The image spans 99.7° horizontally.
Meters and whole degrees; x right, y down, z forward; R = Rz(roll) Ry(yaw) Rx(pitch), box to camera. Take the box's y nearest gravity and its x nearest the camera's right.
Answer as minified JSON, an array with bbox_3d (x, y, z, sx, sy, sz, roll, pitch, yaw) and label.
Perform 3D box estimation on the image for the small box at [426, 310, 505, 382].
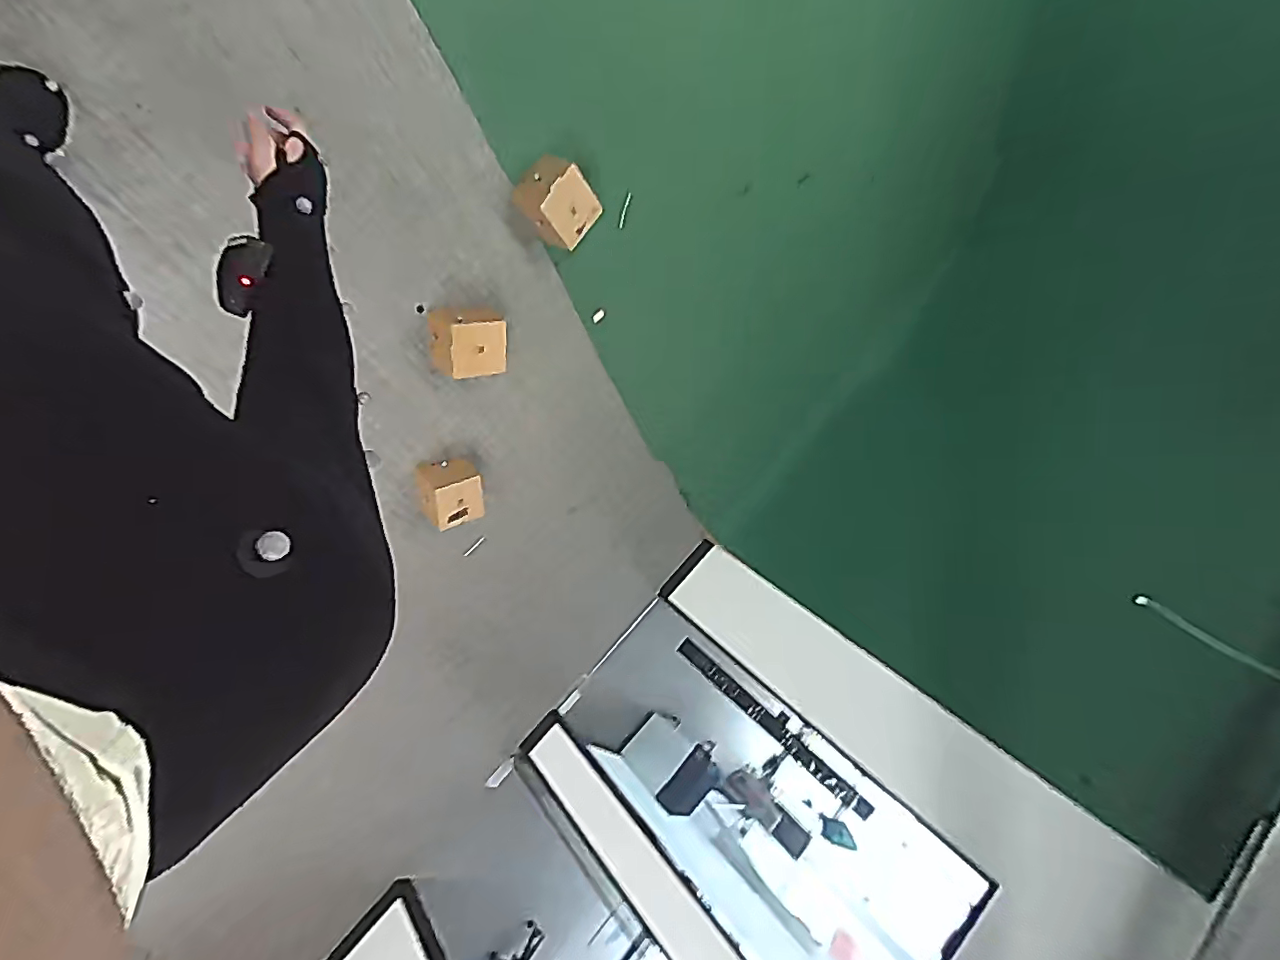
[{"bbox_3d":[-0.534,-0.418,1.660,0.179,0.176,0.168,-18,130,-37],"label":"small box"}]

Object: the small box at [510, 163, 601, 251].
[{"bbox_3d":[-0.260,-0.831,1.640,0.168,0.176,0.179,-52,143,-3],"label":"small box"}]

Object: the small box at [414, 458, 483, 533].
[{"bbox_3d":[-0.664,0.050,1.878,0.168,0.176,0.179,-23,132,-36],"label":"small box"}]
